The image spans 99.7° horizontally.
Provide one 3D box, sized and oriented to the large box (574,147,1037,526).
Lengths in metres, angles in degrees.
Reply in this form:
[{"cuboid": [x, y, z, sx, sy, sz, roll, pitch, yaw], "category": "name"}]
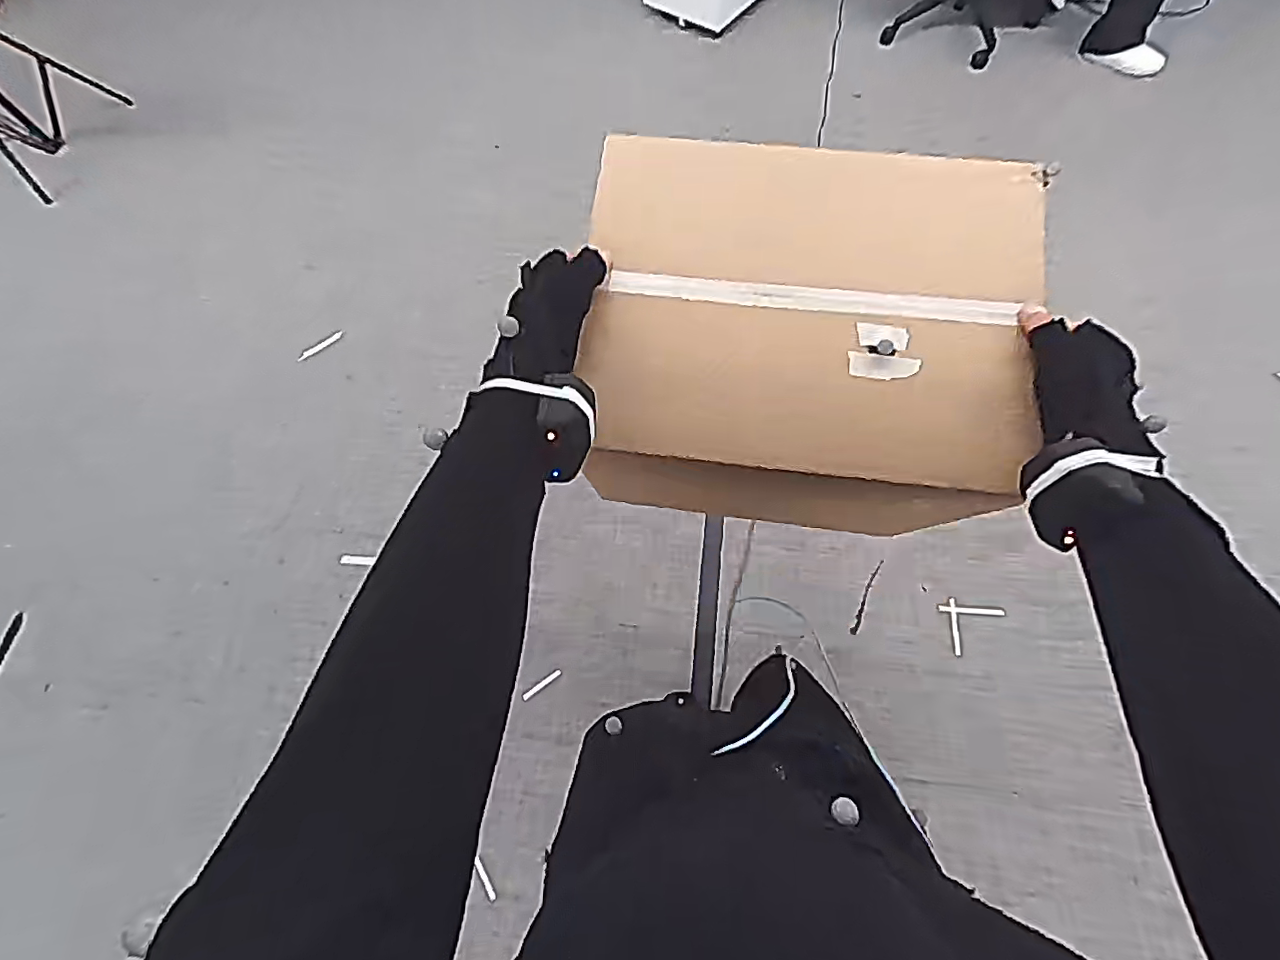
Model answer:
[{"cuboid": [0.160, -0.134, 0.641, 0.408, 0.320, 0.320, 7, 81, 4], "category": "large box"}]
